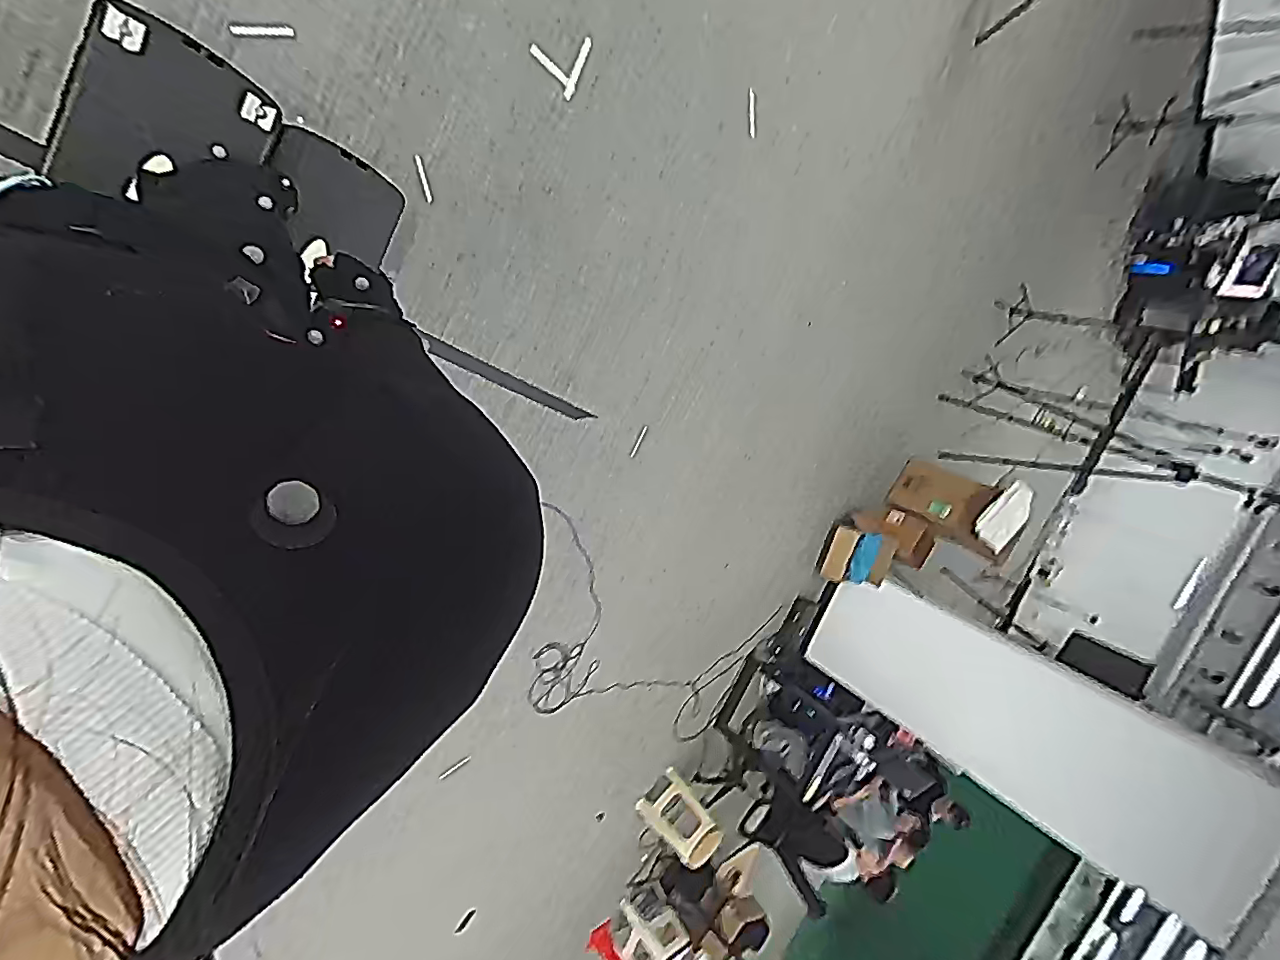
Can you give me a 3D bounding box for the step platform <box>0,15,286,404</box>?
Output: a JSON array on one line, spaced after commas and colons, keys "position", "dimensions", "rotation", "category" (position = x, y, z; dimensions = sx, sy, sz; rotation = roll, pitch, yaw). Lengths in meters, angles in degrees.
[{"position": [-0.978, -0.501, 1.081], "dimensions": [0.286, 0.204, 0.684], "rotation": [18, 97, -47], "category": "step platform"}]
